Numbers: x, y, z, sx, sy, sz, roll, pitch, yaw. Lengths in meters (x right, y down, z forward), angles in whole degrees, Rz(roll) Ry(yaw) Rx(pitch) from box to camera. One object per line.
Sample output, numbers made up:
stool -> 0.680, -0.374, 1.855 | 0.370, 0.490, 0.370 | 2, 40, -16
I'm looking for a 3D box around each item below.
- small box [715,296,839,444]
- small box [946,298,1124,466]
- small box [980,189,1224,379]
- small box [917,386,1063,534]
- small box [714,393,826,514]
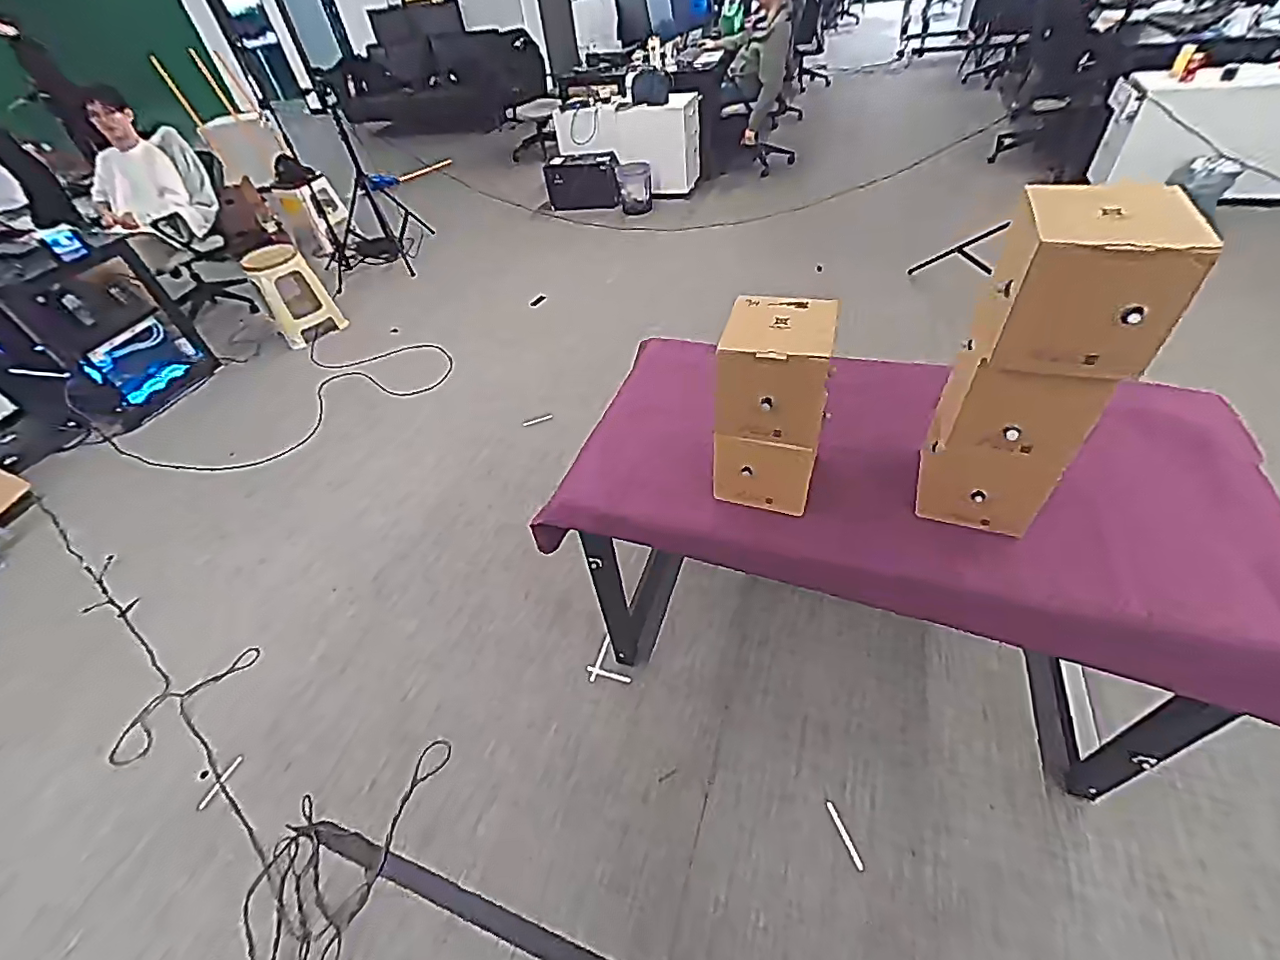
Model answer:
small box -> 0.224, -0.181, 0.892 | 0.168, 0.176, 0.179 | 10, 48, 16
small box -> 0.574, -0.149, 0.810 | 0.168, 0.176, 0.179 | 12, 49, 20
small box -> 0.551, -0.246, 0.680 | 0.168, 0.176, 0.179 | 11, 48, 17
small box -> 0.586, -0.033, 0.925 | 0.168, 0.176, 0.179 | 13, 49, 19
small box -> 0.240, -0.061, 1.003 | 0.168, 0.176, 0.179 | 12, 47, 18
